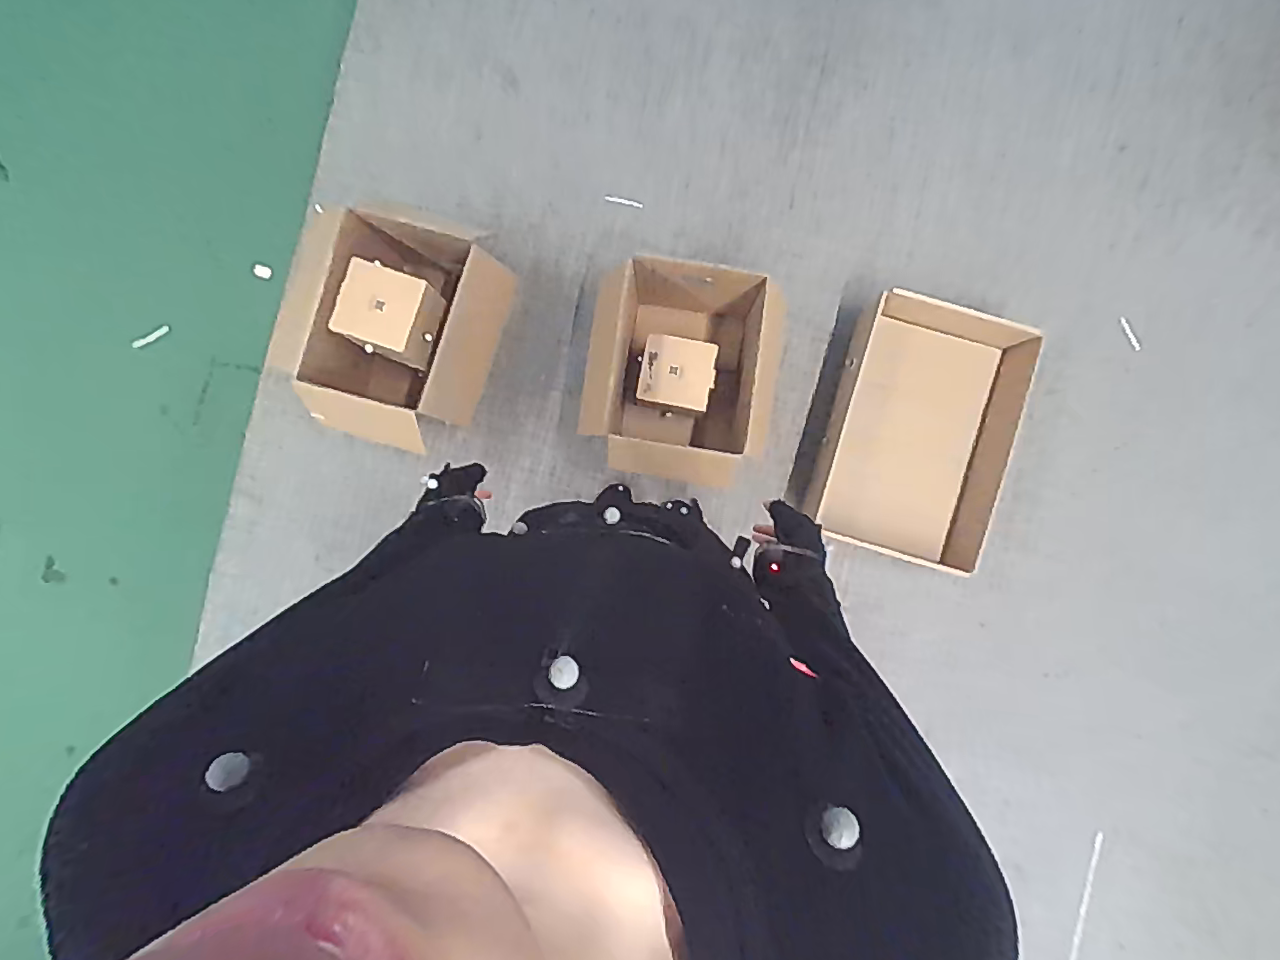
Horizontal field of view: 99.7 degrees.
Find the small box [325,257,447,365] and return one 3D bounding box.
[{"bbox_3d":[-0.570,-0.377,1.241,0.179,0.176,0.168,18,89,1],"label":"small box"}]
